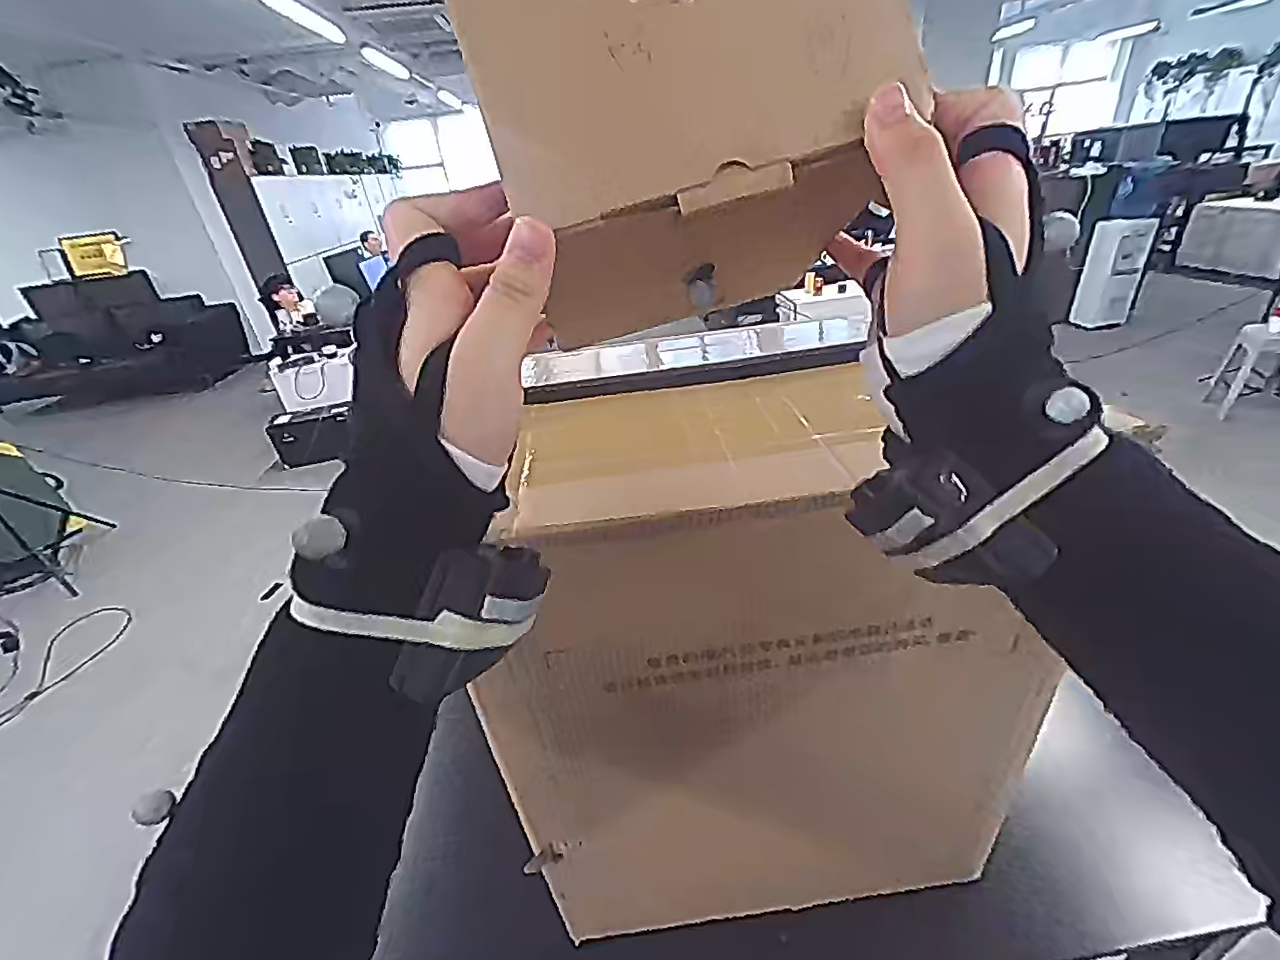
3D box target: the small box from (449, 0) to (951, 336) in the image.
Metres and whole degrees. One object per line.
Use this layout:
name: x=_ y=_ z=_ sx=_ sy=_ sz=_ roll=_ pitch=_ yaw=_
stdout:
small box: x=0.011 y=-0.185 z=0.273 sx=0.168 sy=0.179 sz=0.176 roll=-17 pitch=1 yaw=-3
